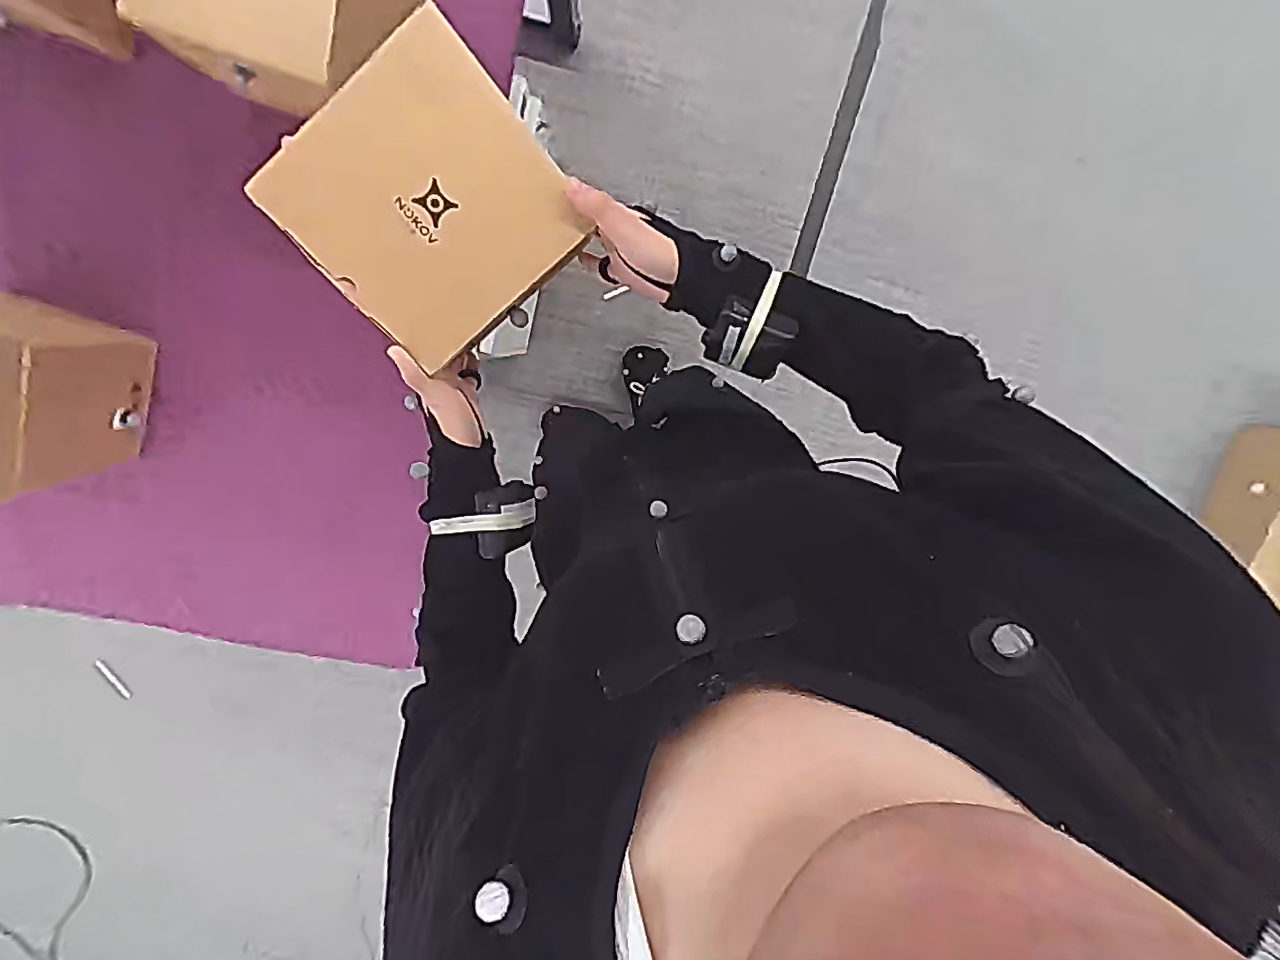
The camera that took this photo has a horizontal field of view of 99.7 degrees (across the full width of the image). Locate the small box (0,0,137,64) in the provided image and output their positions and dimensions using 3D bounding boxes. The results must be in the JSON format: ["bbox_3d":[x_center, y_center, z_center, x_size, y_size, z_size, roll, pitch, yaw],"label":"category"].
[{"bbox_3d":[-0.611,-0.543,0.499,0.168,0.176,0.179,16,103,-7],"label":"small box"}]

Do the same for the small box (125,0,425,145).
[{"bbox_3d":[-0.340,-0.465,0.533,0.179,0.176,0.168,16,103,-6],"label":"small box"}]

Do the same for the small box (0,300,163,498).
[{"bbox_3d":[-0.701,-0.101,0.608,0.179,0.176,0.168,17,104,-10],"label":"small box"}]
